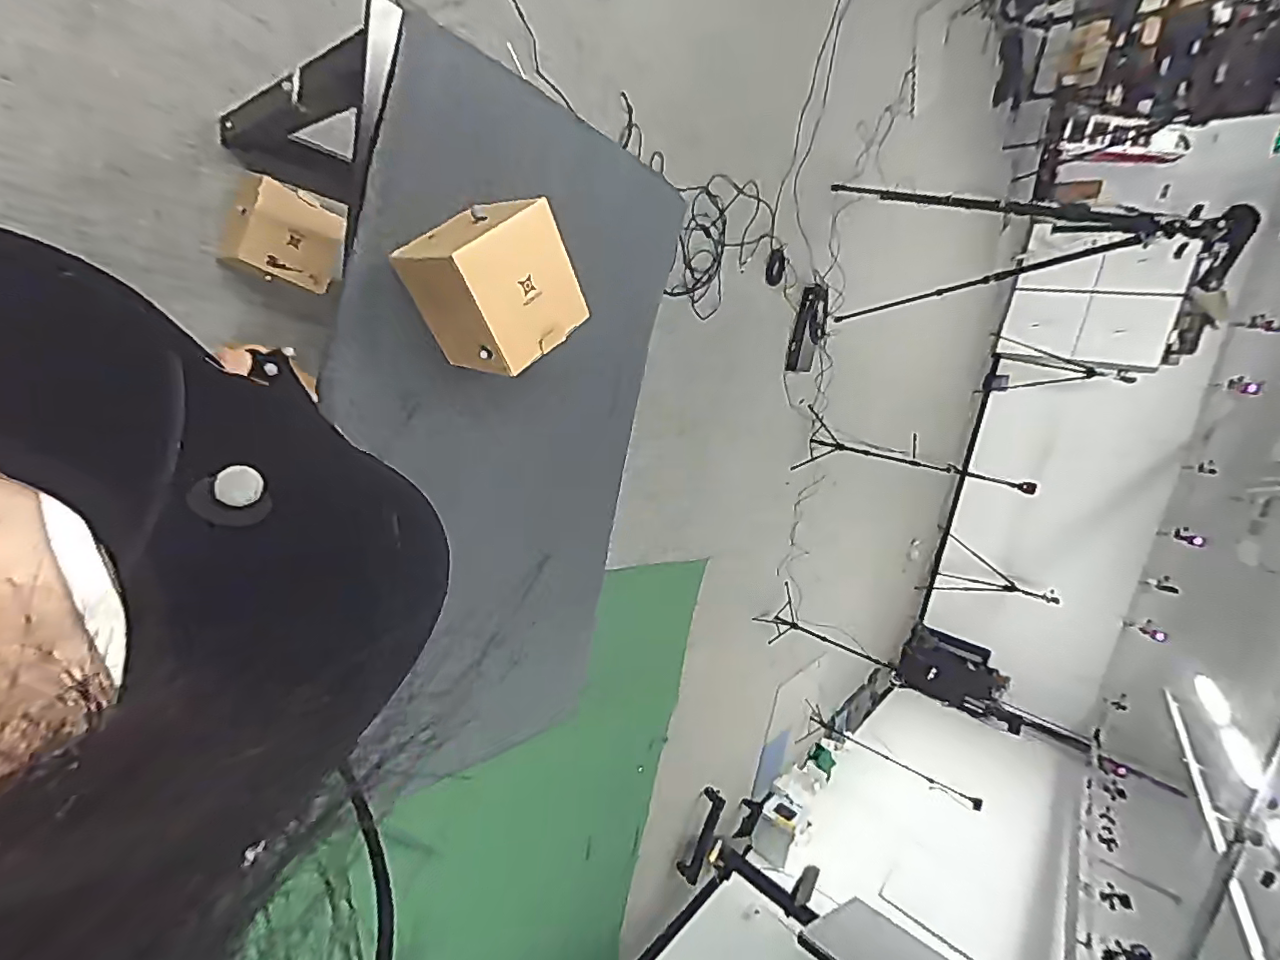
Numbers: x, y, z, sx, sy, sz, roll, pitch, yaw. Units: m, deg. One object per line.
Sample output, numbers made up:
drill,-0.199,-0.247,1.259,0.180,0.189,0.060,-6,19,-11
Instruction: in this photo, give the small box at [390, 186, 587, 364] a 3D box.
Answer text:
small box,-0.212,-0.287,0.766,0.168,0.176,0.179,-48,137,-27

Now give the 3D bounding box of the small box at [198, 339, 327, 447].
small box,-0.849,-0.196,1.210,0.168,0.176,0.179,31,79,-52

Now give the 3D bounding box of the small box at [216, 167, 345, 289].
small box,-0.776,-0.532,1.162,0.168,0.176,0.179,18,90,-52
